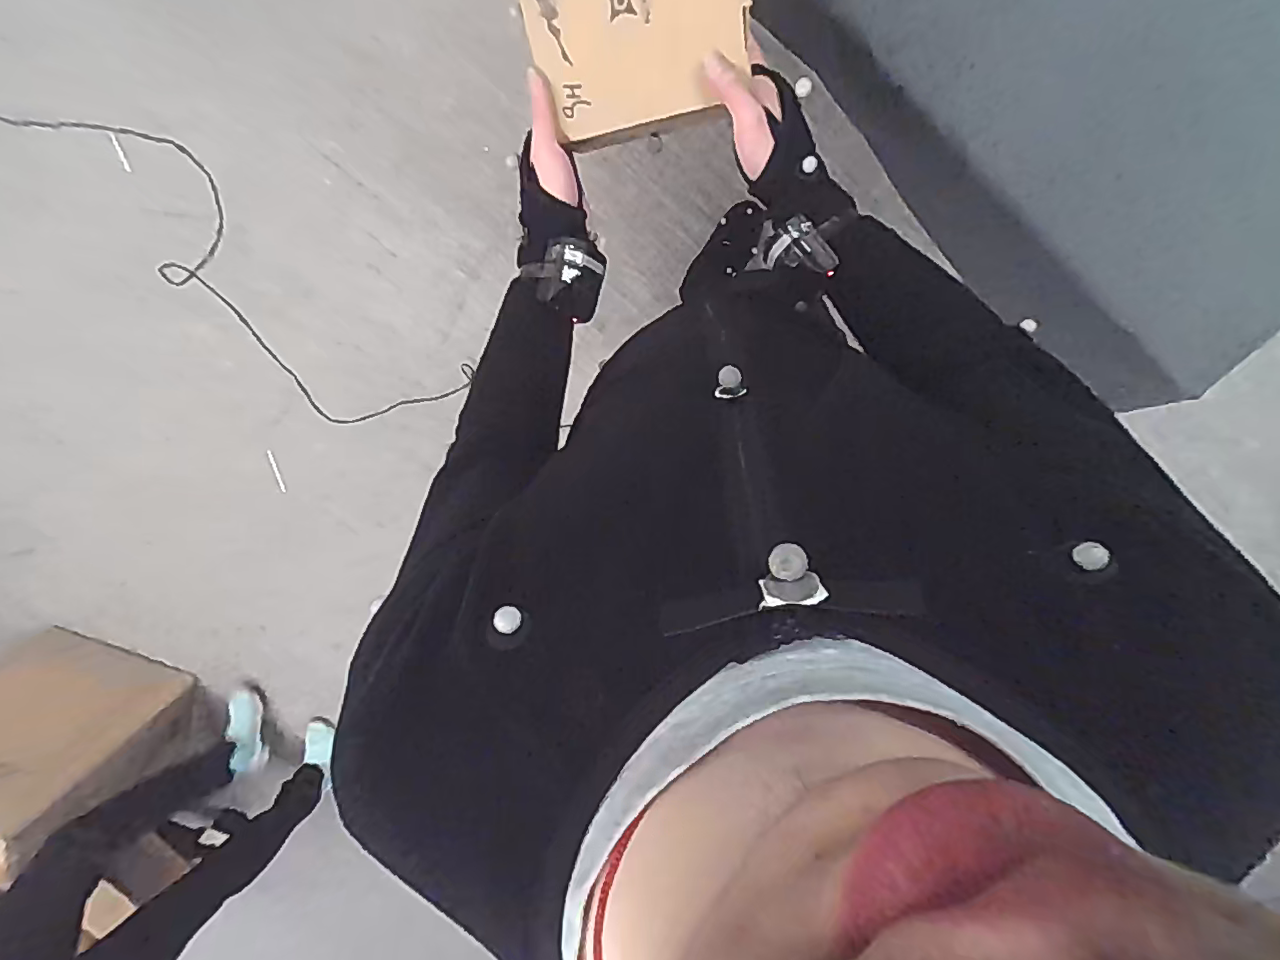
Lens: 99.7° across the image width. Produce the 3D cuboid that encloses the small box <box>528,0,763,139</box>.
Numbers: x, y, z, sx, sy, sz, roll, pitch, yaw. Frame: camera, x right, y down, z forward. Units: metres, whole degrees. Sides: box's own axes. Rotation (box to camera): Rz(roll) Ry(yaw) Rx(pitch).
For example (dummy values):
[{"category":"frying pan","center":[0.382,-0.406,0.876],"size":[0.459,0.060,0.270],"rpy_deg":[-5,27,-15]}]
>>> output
[{"category":"small box","center":[-0.002,-0.414,0.472],"size":[0.179,0.176,0.168],"rpy_deg":[-10,117,4]}]

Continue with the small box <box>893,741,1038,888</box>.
[{"category":"small box","center":[0.665,0.696,1.135],"size":[0.168,0.176,0.179],"rpy_deg":[36,109,-13]}]
